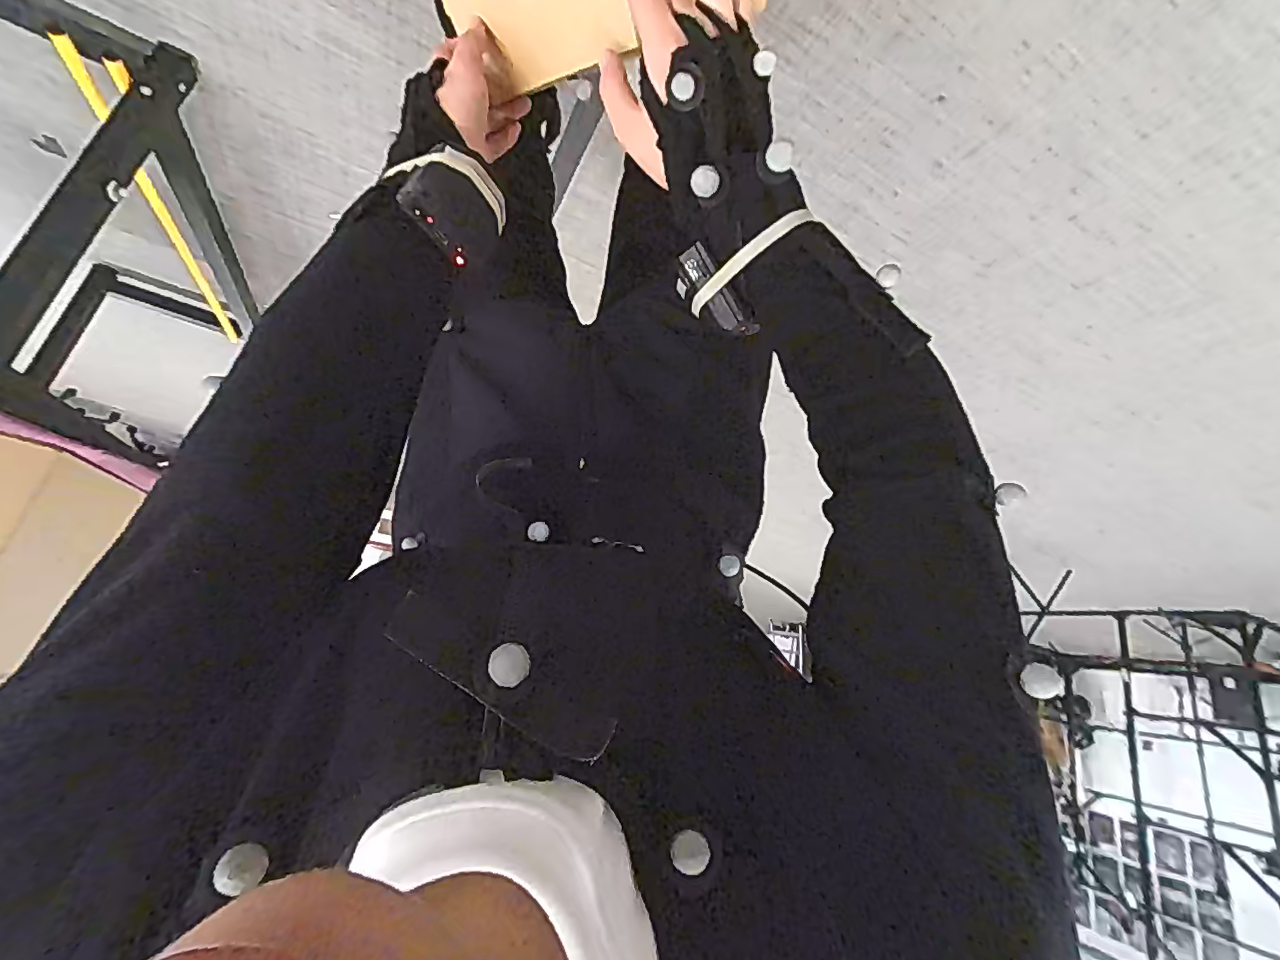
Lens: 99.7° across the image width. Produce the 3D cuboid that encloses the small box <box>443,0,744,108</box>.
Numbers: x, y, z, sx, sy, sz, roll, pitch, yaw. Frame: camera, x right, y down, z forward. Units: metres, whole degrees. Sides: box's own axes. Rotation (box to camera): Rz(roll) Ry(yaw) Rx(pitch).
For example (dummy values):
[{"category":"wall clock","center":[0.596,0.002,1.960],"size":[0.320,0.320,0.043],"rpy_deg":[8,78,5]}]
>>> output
[{"category":"small box","center":[-0.035,-0.395,0.382],"size":[0.179,0.176,0.168],"rpy_deg":[17,139,40]}]
